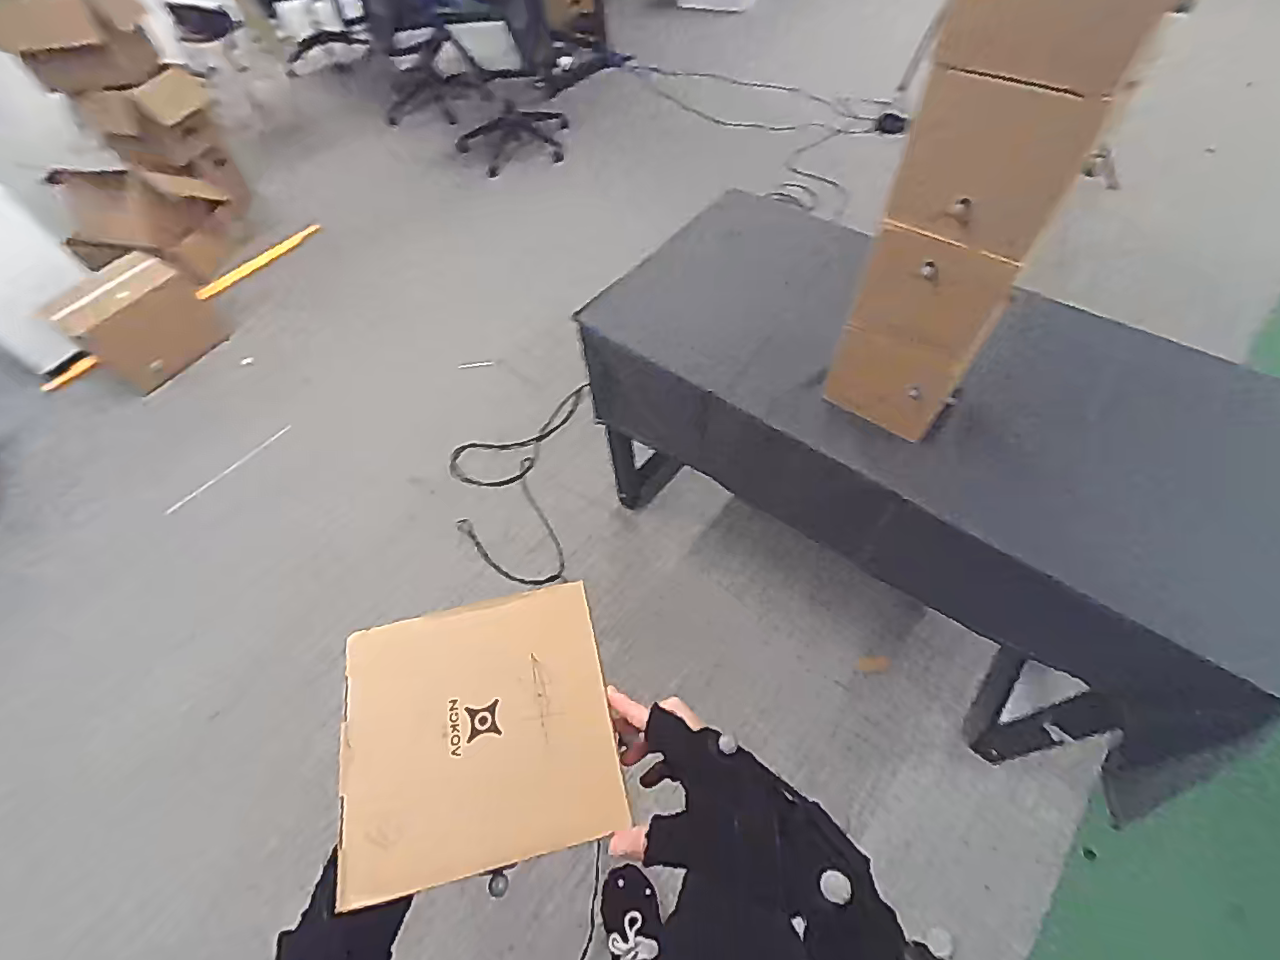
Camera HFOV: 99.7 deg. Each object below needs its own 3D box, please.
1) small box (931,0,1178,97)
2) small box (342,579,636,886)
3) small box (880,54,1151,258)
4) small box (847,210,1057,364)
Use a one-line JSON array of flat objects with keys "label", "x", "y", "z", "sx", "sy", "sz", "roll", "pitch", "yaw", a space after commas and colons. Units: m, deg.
[{"label": "small box", "x": 0.408, "y": -0.487, "z": 0.500, "sx": 0.179, "sy": 0.176, "sz": 0.168, "roll": 33, "pitch": 64, "yaw": 23}, {"label": "small box", "x": -0.103, "y": 0.201, "z": 0.432, "sx": 0.179, "sy": 0.176, "sz": 0.168, "roll": -10, "pitch": 58, "yaw": -6}, {"label": "small box", "x": 0.419, "y": -0.389, "z": 0.632, "sx": 0.179, "sy": 0.176, "sz": 0.168, "roll": 35, "pitch": 64, "yaw": 24}, {"label": "small box", "x": 0.426, "y": -0.291, "z": 0.763, "sx": 0.179, "sy": 0.176, "sz": 0.168, "roll": 33, "pitch": 63, "yaw": 23}]
